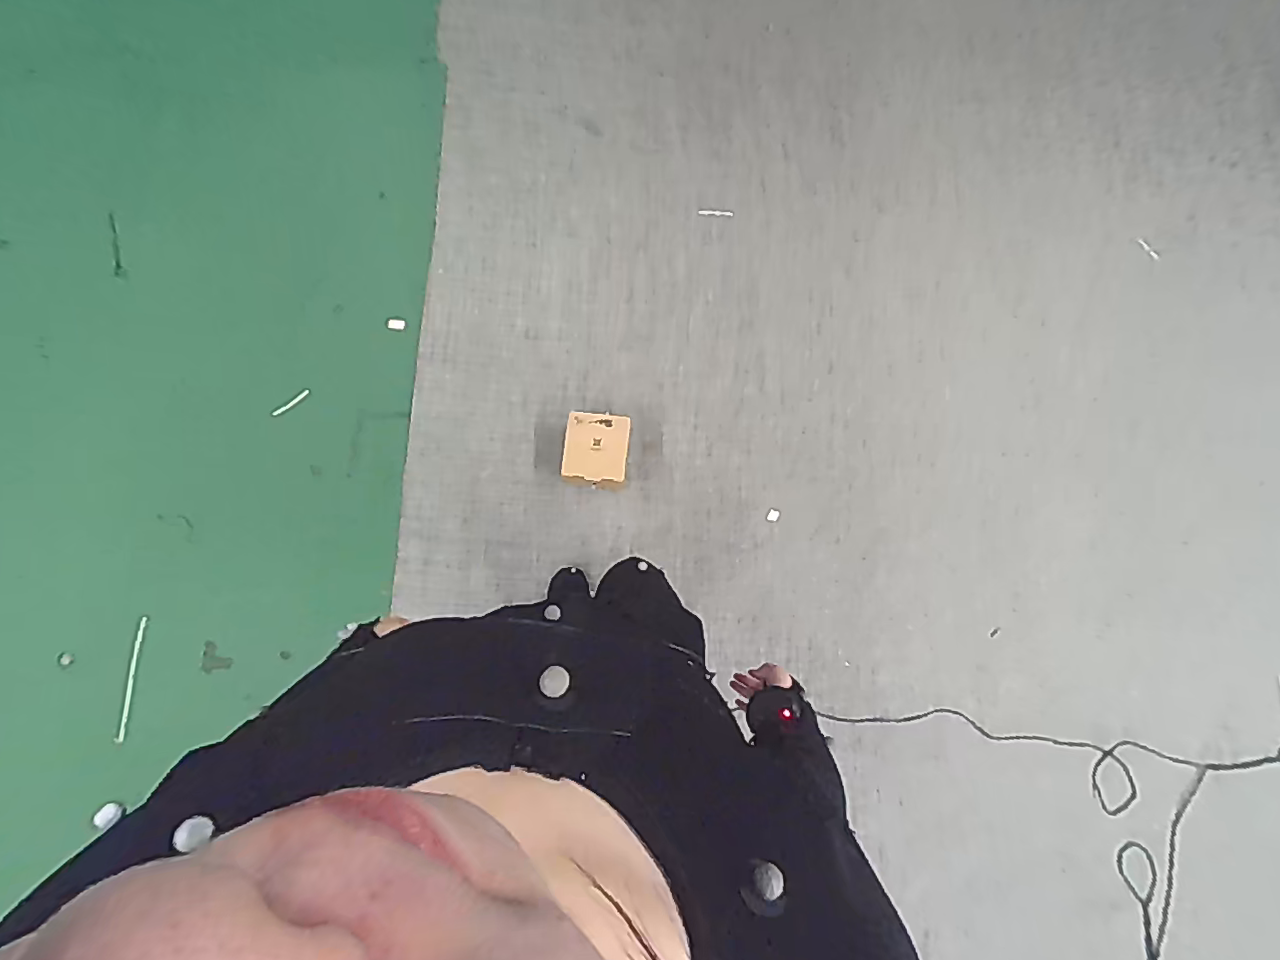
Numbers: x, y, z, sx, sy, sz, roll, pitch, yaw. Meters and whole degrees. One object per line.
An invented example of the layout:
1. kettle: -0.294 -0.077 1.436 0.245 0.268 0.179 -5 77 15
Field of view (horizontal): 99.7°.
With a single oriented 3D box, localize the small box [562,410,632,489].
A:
1. small box: -0.111 -0.076 1.476 0.168 0.176 0.179 7 81 -1
